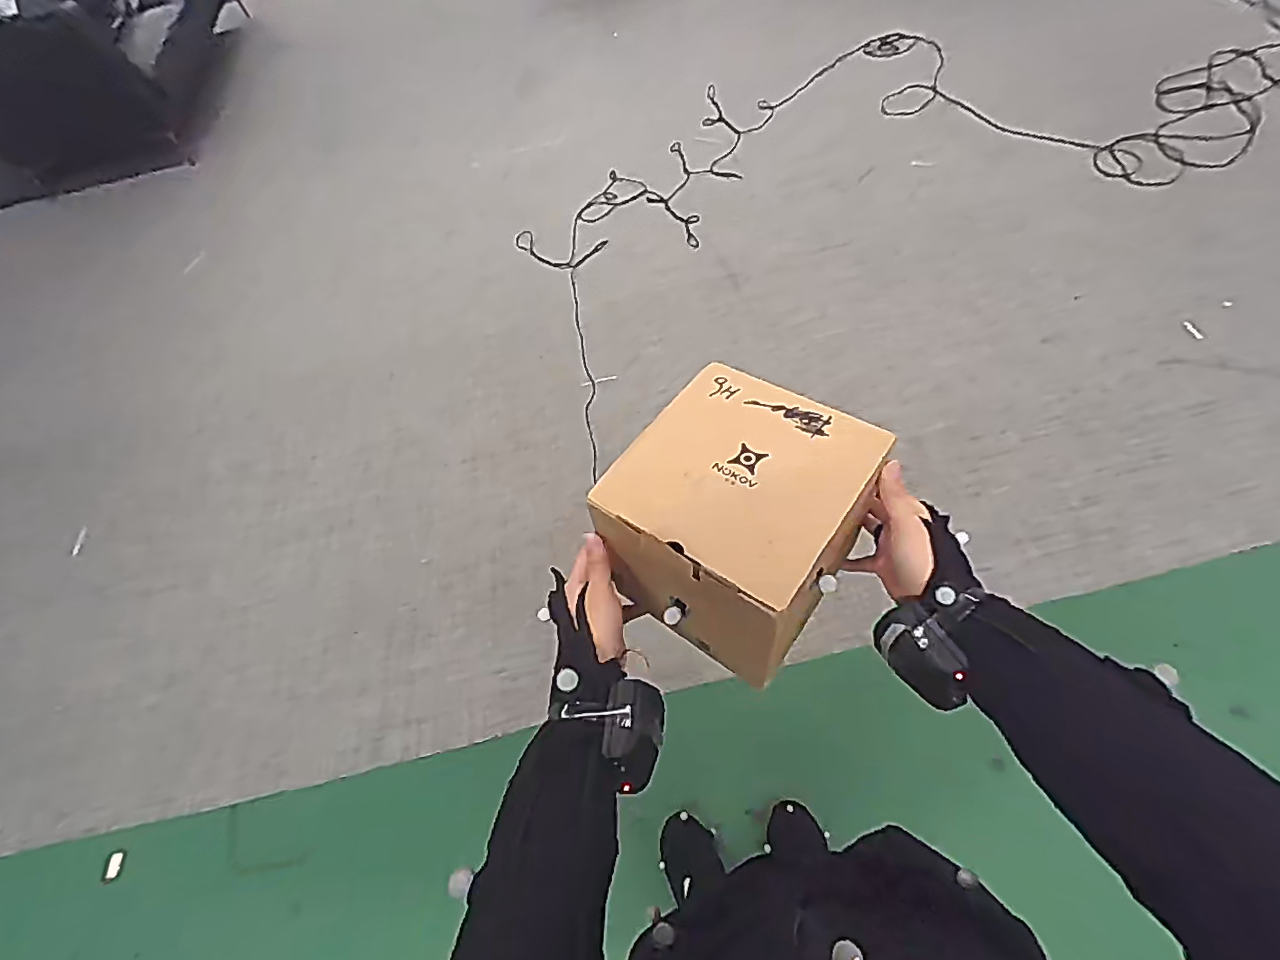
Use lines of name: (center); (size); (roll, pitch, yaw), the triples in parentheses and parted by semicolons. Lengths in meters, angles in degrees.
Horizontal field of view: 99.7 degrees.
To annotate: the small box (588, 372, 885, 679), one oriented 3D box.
small box: (0.085, 0.044, 0.476); (0.168, 0.176, 0.179); (29, 64, 26)
